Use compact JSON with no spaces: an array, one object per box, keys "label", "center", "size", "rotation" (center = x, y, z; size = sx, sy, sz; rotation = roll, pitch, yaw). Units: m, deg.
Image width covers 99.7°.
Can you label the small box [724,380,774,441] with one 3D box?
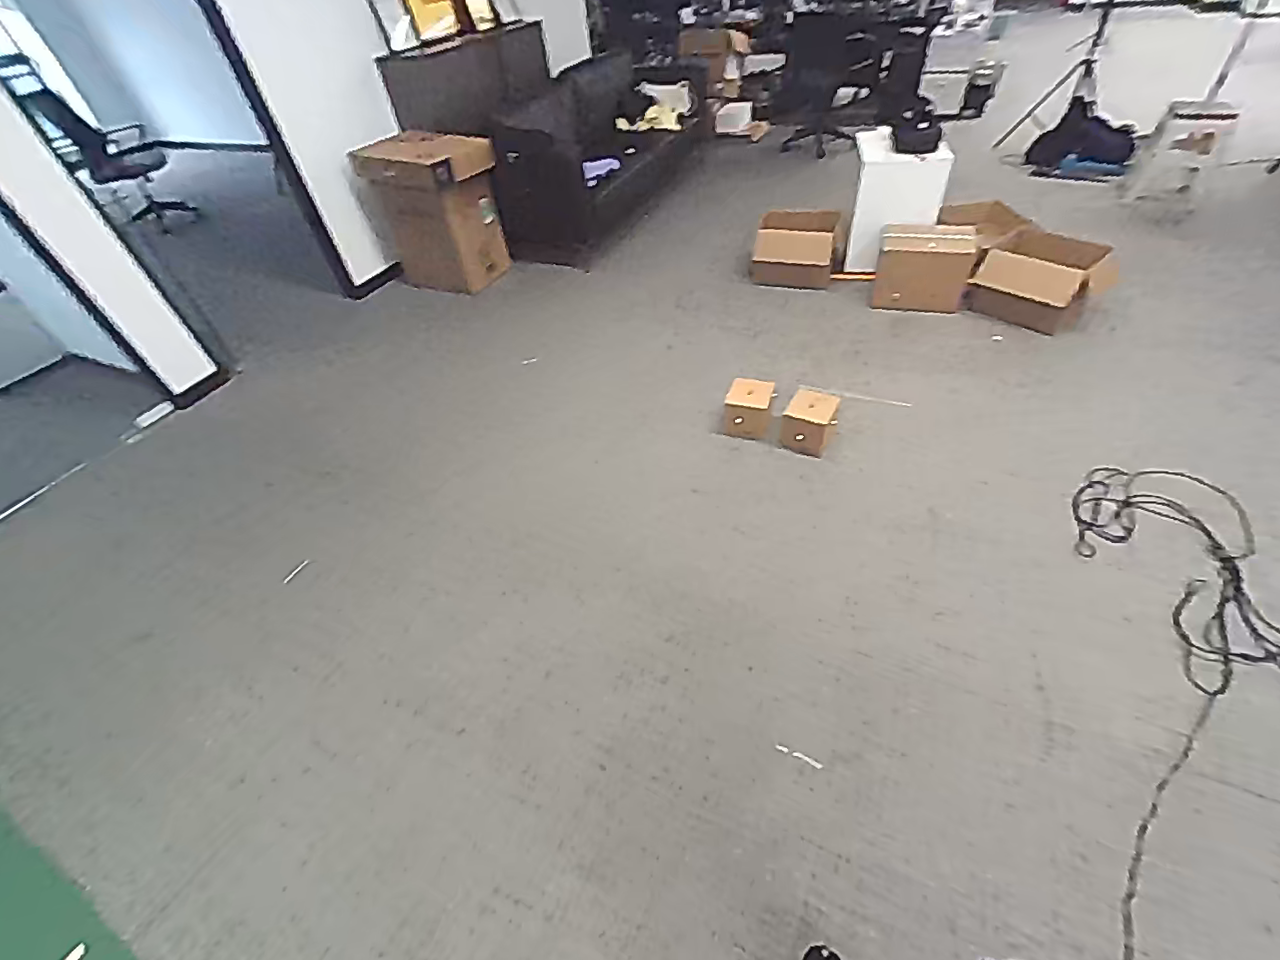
[{"label":"small box","center":[0.447,-0.282,2.204],"size":[0.168,0.176,0.179],"rotation":[11,48,19]}]

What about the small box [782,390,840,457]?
[{"label":"small box","center":[0.663,-0.217,2.105],"size":[0.168,0.176,0.179],"rotation":[20,51,25]}]
